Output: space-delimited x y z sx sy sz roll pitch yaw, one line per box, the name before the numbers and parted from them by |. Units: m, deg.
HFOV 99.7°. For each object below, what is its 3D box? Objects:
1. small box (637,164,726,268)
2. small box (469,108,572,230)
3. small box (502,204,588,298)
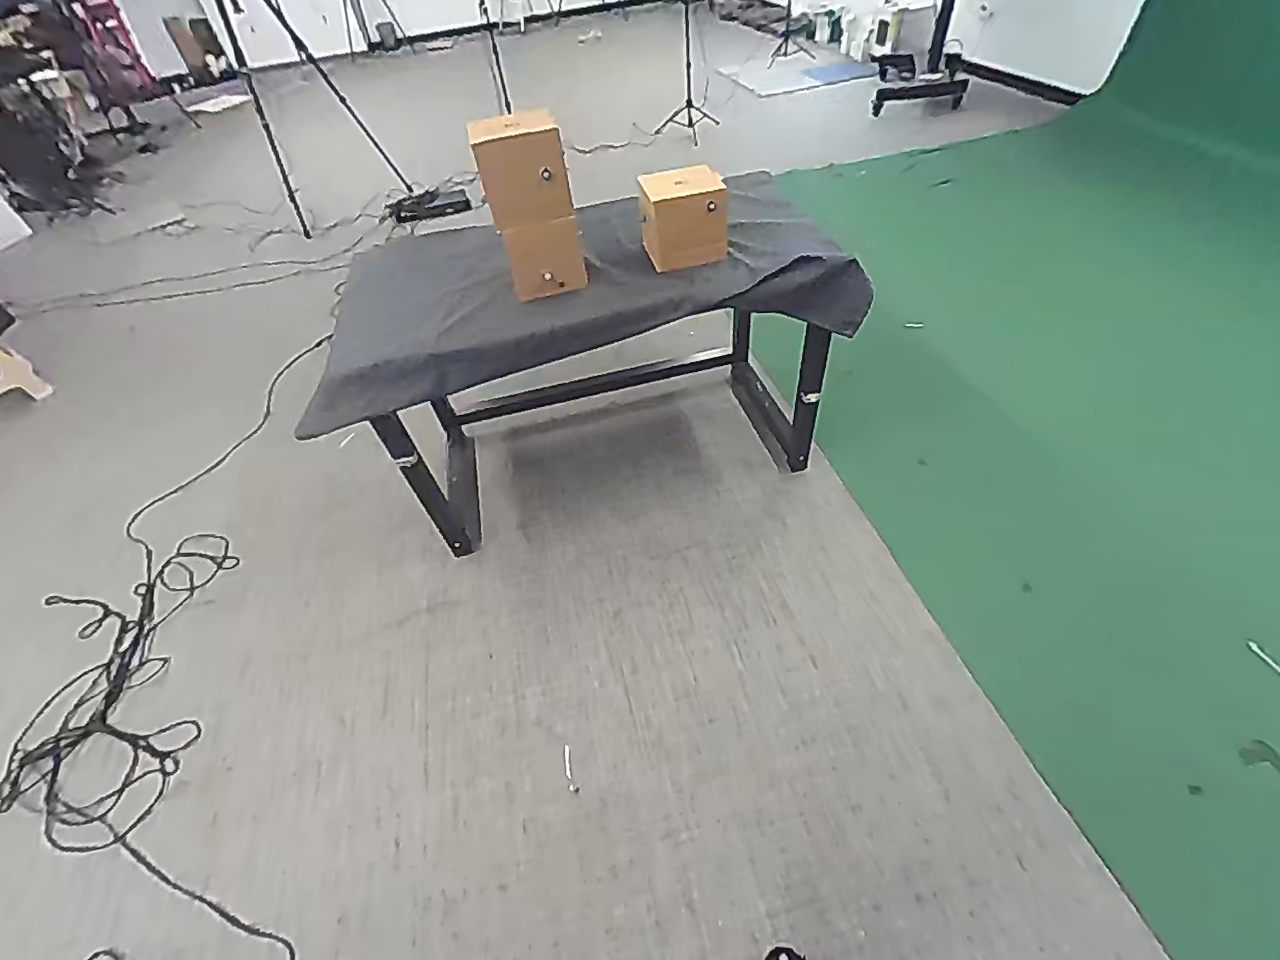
small box | 0.100 -0.630 1.301 0.179 0.176 0.168 -13 48 -4
small box | -0.250 -0.663 1.154 0.179 0.176 0.168 -16 47 -5
small box | -0.228 -0.558 1.277 0.168 0.176 0.179 -15 49 -5
